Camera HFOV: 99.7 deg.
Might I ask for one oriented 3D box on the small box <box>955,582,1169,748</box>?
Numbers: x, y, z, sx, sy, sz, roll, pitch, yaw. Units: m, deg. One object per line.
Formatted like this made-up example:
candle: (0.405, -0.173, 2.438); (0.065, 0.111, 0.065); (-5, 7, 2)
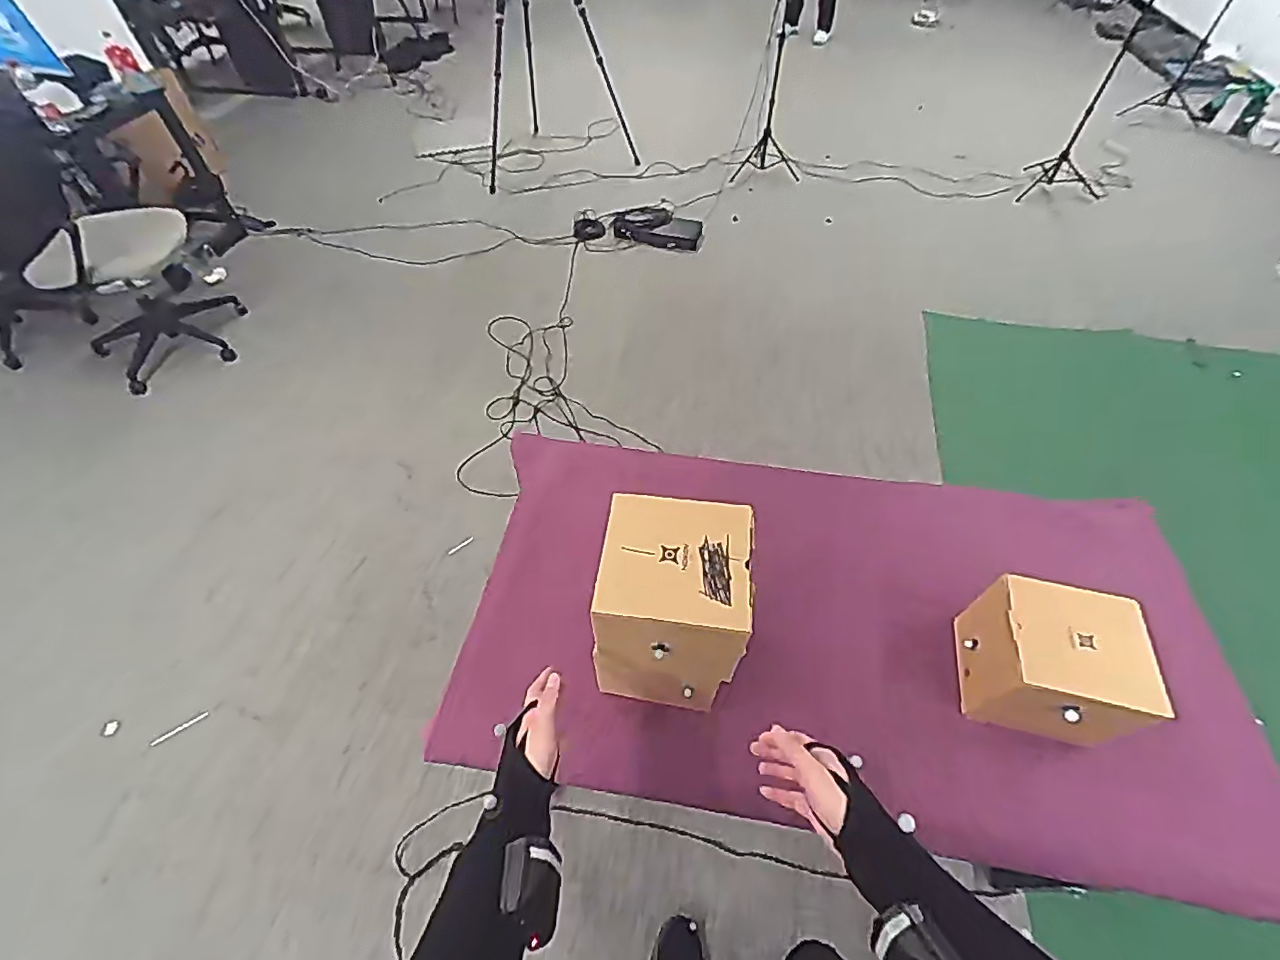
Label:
small box: (0.597, 0.276, 0.795); (0.179, 0.176, 0.168); (11, 53, 10)

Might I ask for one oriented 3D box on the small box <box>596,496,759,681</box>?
small box: (0.048, 0.143, 0.686); (0.179, 0.176, 0.168); (6, 52, 5)
